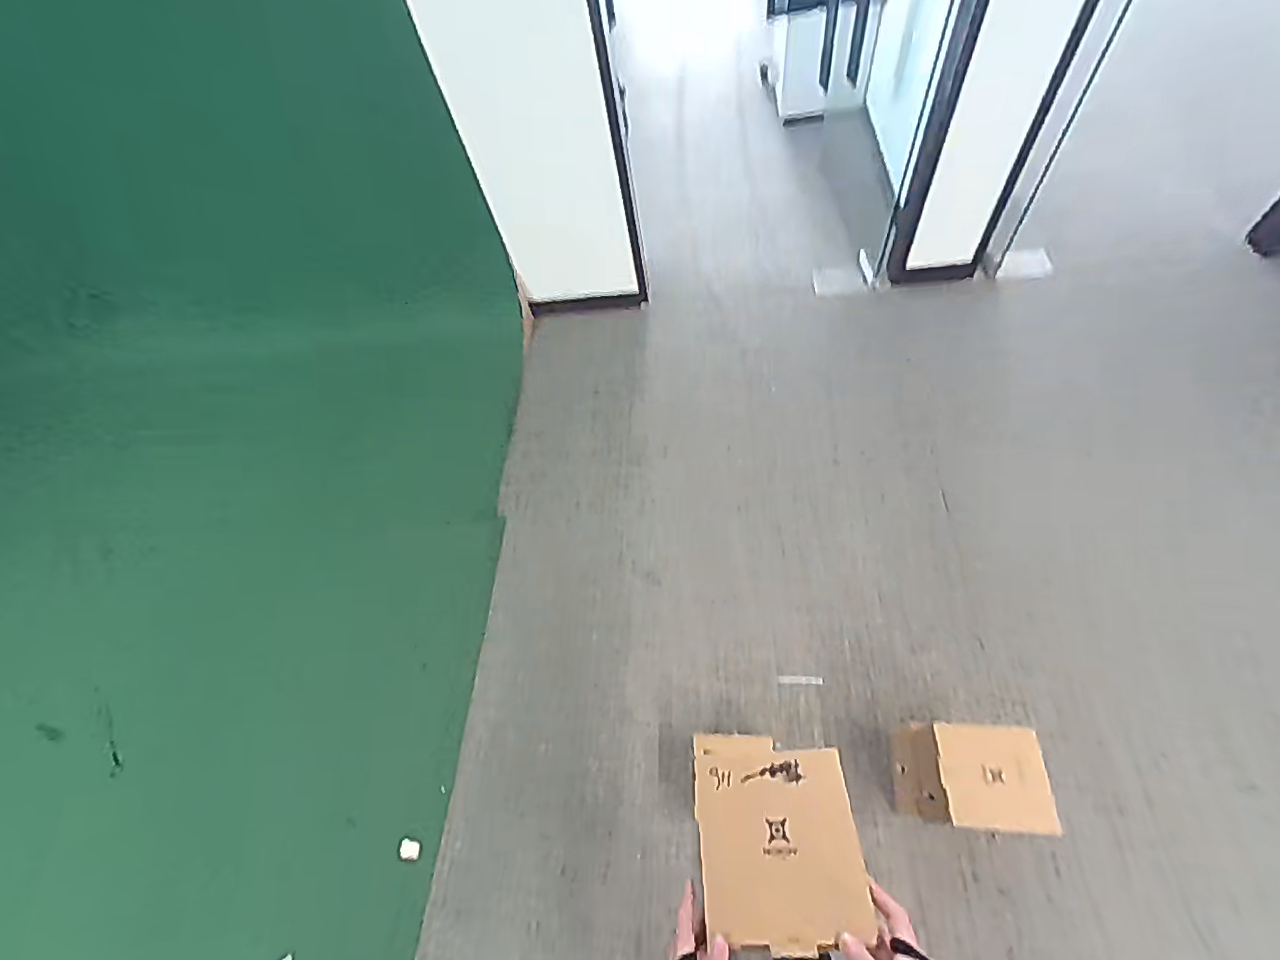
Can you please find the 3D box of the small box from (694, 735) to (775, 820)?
[{"bbox_3d":[0.215,0.676,1.215,0.179,0.176,0.168,-2,59,7],"label":"small box"}]

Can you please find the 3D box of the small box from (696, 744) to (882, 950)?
[{"bbox_3d":[0.157,0.424,0.625,0.168,0.176,0.179,-6,49,4],"label":"small box"}]

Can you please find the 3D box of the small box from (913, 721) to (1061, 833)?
[{"bbox_3d":[0.634,0.561,1.020,0.179,0.176,0.168,0,59,9],"label":"small box"}]
